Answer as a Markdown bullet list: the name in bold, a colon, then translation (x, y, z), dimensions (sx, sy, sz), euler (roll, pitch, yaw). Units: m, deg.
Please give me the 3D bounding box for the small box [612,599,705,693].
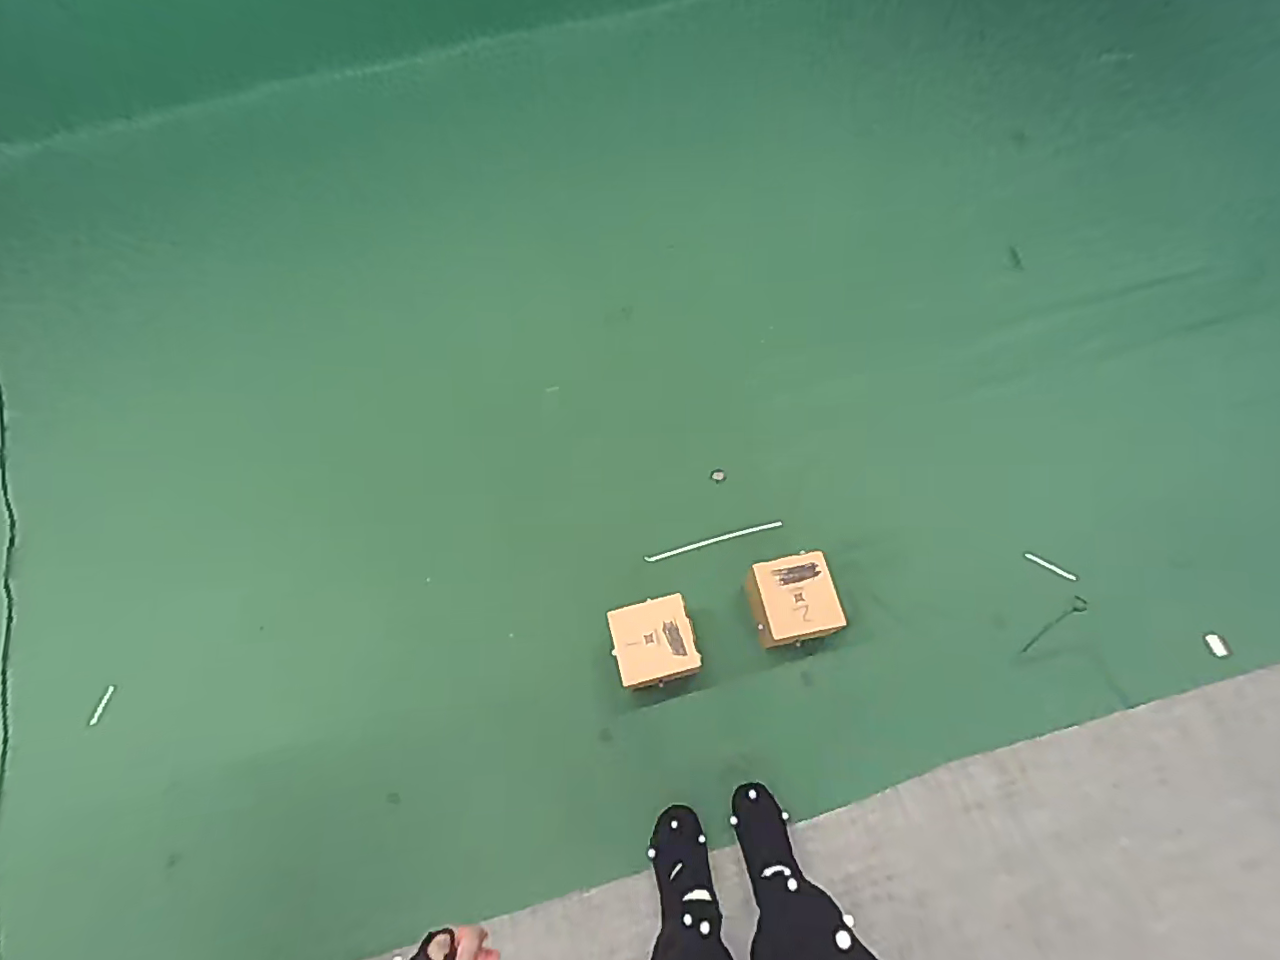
- **small box**: translation (0.044, 0.390, 1.260), dimensions (0.179, 0.176, 0.168), euler (-15, 66, -2)
